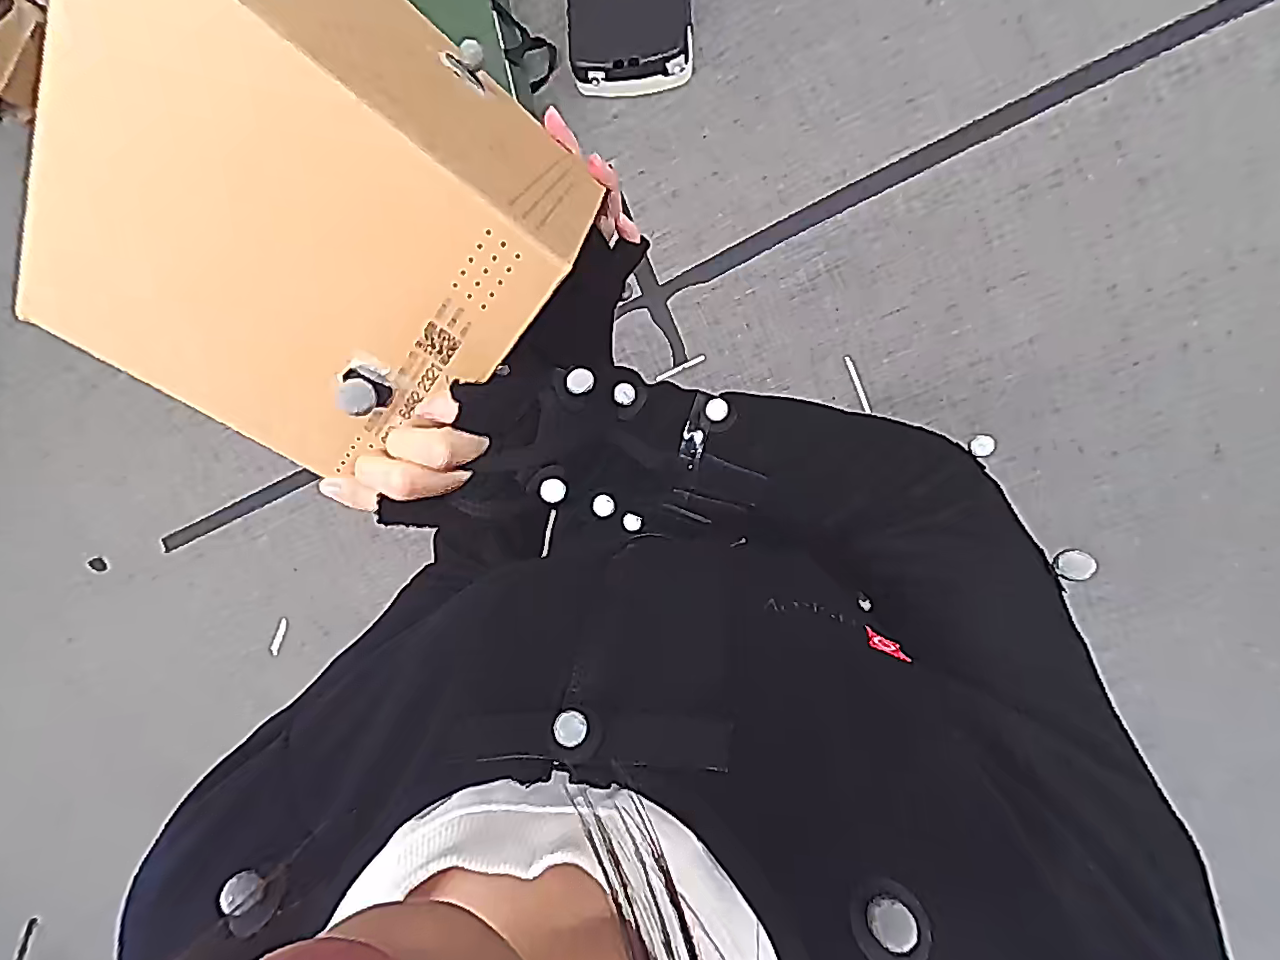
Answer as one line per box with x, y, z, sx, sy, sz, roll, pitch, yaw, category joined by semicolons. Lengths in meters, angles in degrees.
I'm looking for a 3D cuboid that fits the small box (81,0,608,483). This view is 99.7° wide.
-0.134;-0.131;0.301;0.176;0.179;0.168;34;122;-22;small box
